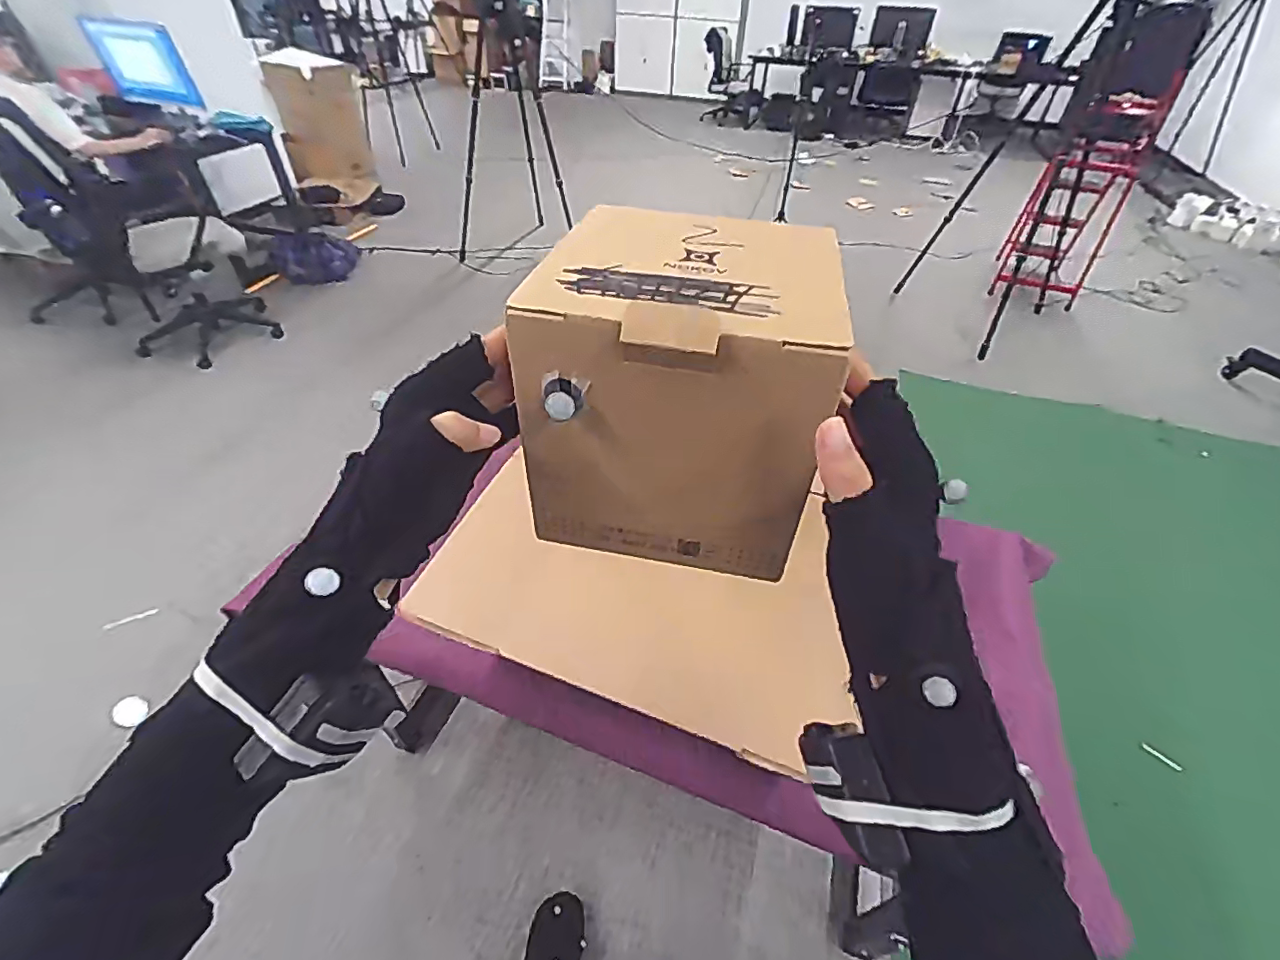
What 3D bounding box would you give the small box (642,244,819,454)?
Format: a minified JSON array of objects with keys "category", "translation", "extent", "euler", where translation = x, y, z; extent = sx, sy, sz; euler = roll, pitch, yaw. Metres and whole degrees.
[{"category":"small box","translation":[0.104,-0.160,0.654],"extent":[0.168,0.176,0.179],"euler":[15,44,13]}]
